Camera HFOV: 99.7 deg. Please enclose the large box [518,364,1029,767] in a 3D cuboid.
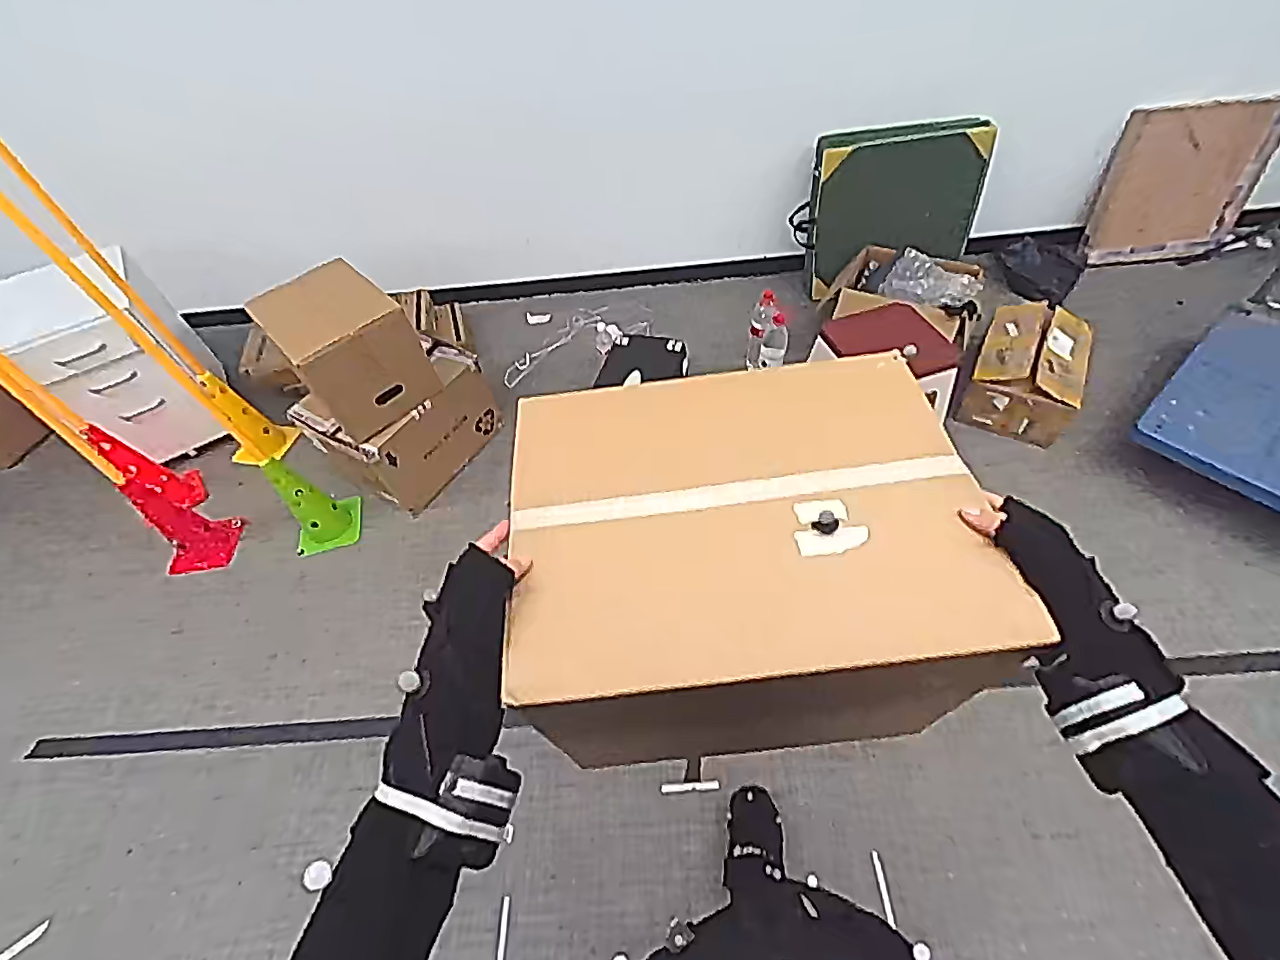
[{"bbox_3d":[0.099,0.109,0.617,0.408,0.320,0.320,-7,53,1],"label":"large box"}]
